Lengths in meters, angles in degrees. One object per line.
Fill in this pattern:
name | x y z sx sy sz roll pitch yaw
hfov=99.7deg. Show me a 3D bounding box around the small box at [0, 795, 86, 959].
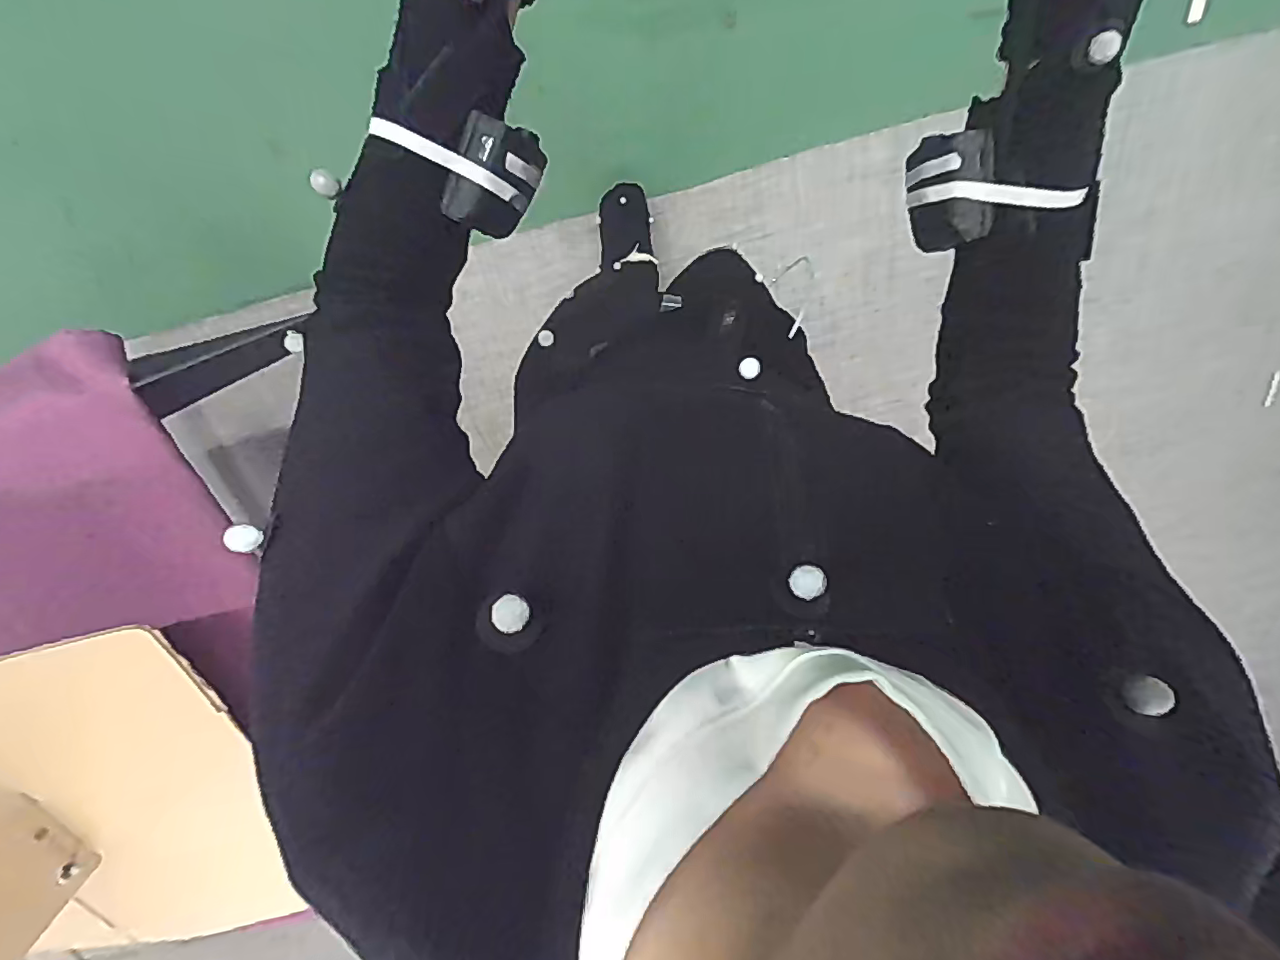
small box | -0.887 0.532 0.693 0.179 0.176 0.168 -10 117 6
